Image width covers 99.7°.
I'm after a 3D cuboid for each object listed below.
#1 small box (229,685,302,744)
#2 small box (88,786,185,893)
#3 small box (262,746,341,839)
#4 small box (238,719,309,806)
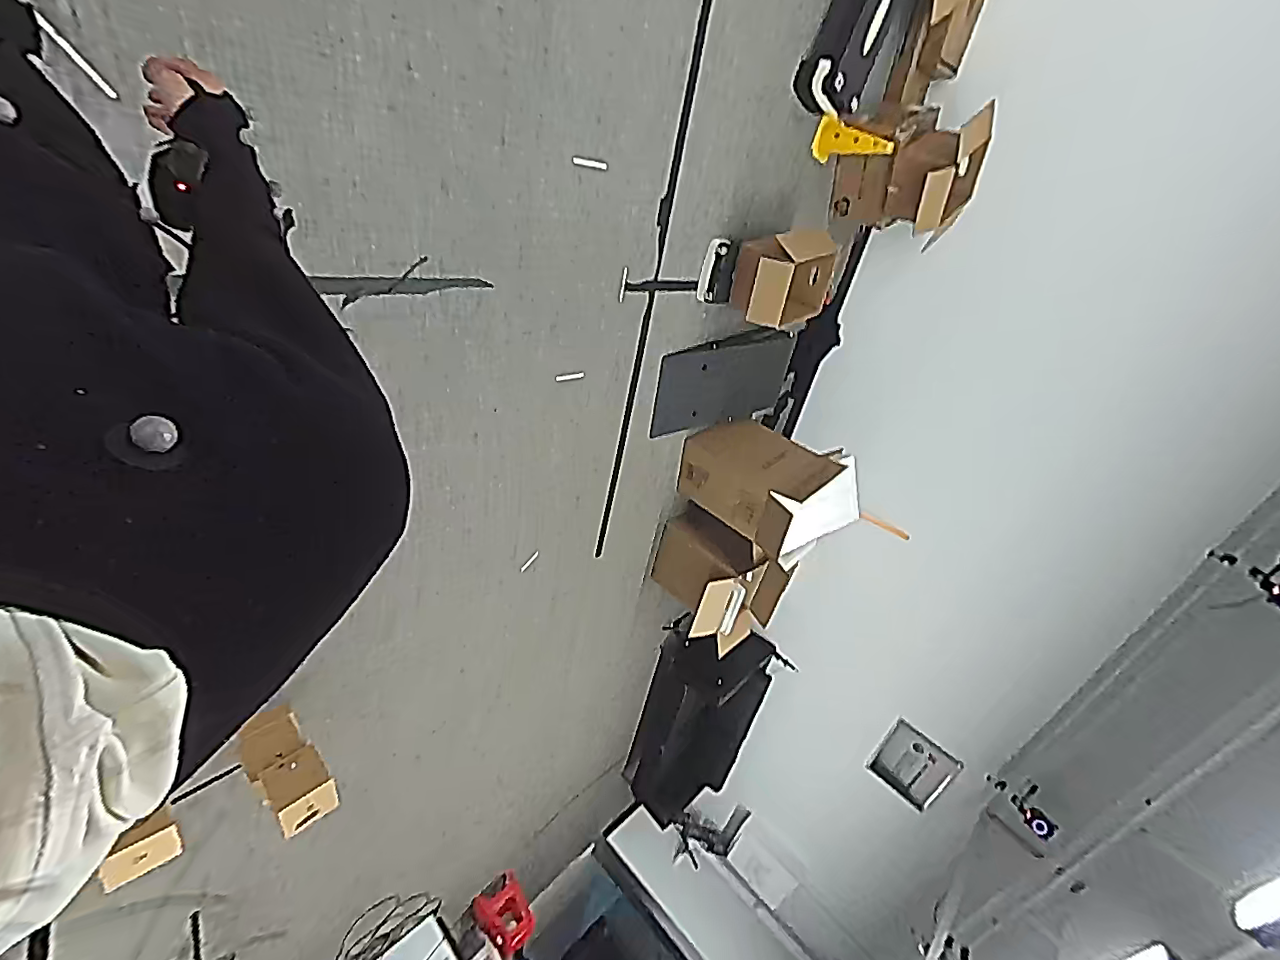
[{"bbox_3d":[-1.361,0.888,1.972,0.168,0.176,0.179,-25,138,-40],"label":"small box"},{"bbox_3d":[-1.508,1.068,1.623,0.179,0.176,0.168,-16,132,-46],"label":"small box"},{"bbox_3d":[-1.123,1.030,1.795,0.168,0.176,0.179,-24,137,-43],"label":"small box"},{"bbox_3d":[-1.254,0.975,1.881,0.179,0.176,0.168,-27,139,-40],"label":"small box"}]
